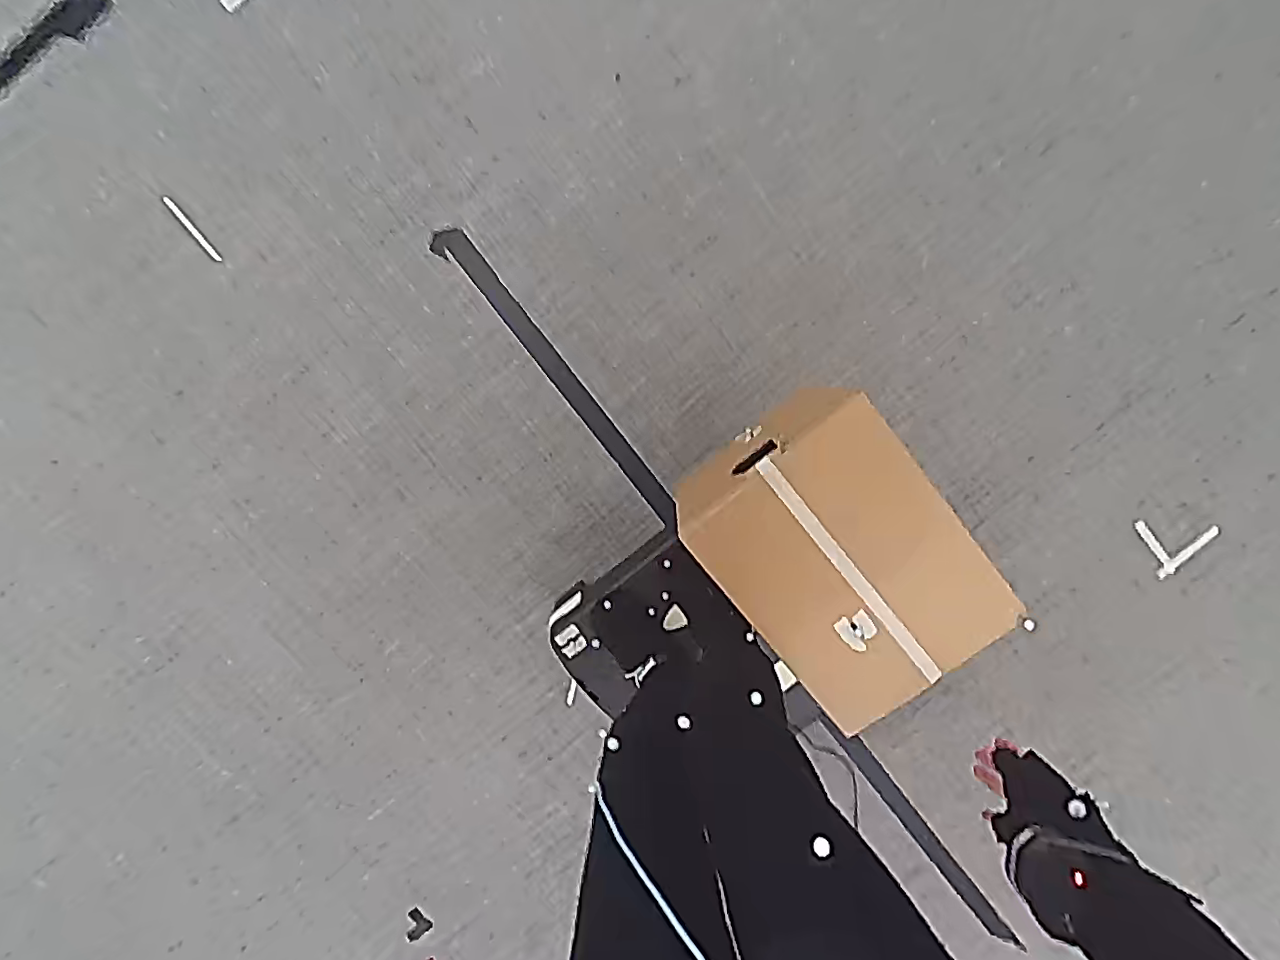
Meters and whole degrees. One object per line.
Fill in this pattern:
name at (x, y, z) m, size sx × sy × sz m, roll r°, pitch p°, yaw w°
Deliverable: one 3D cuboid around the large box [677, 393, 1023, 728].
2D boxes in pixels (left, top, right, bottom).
large box at (0.306, 0.104, 0.911) m, size 0.320 × 0.320 × 0.408 m, roll -40°, pitch 97°, yaw 10°
